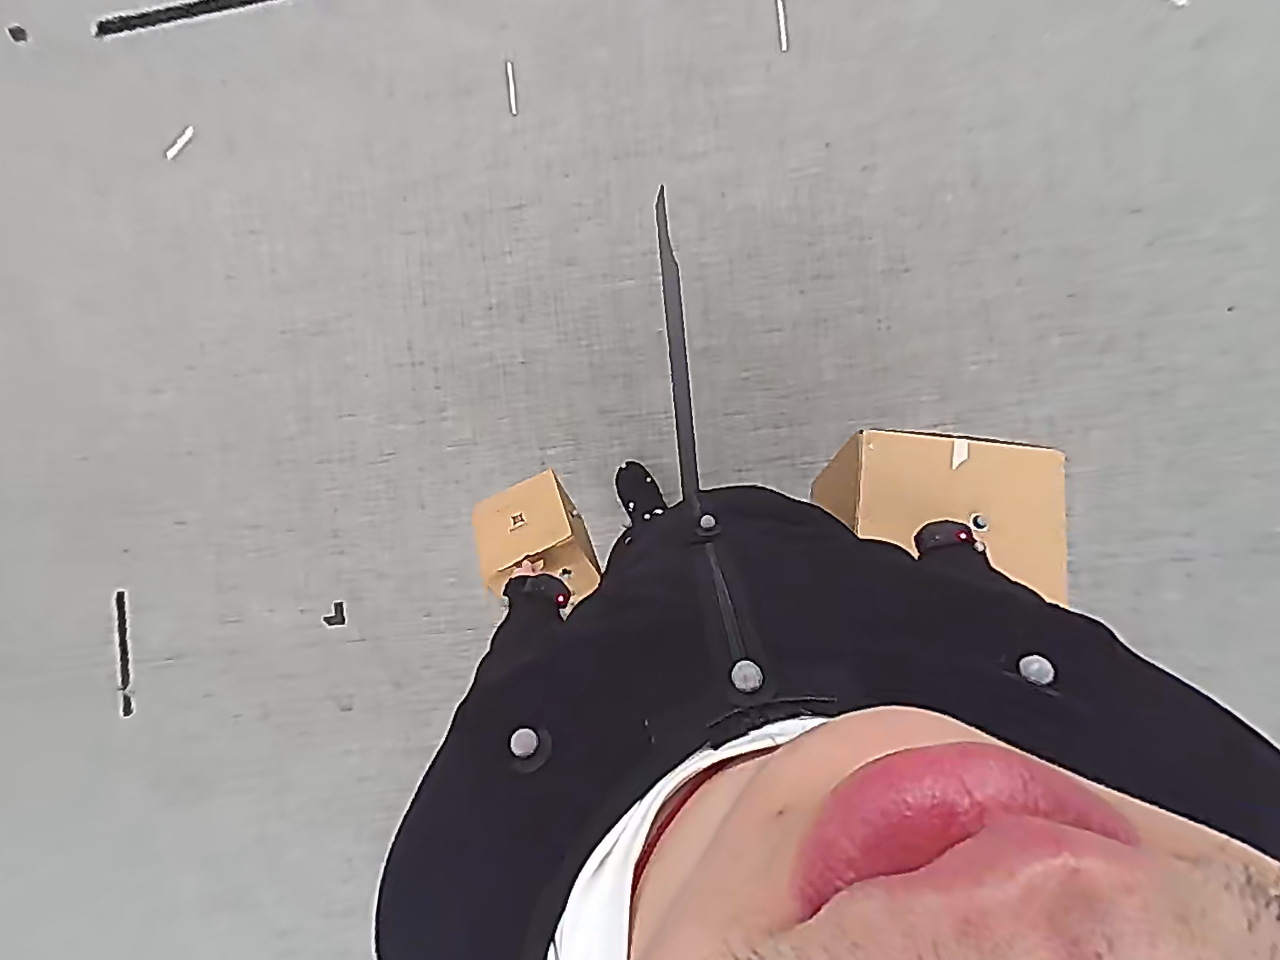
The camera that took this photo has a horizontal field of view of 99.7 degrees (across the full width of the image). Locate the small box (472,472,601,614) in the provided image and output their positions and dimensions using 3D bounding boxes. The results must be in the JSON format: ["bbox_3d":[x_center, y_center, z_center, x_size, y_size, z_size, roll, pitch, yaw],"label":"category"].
[{"bbox_3d":[-0.186,0.123,0.994,0.168,0.176,0.179,-25,46,-2],"label":"small box"}]
